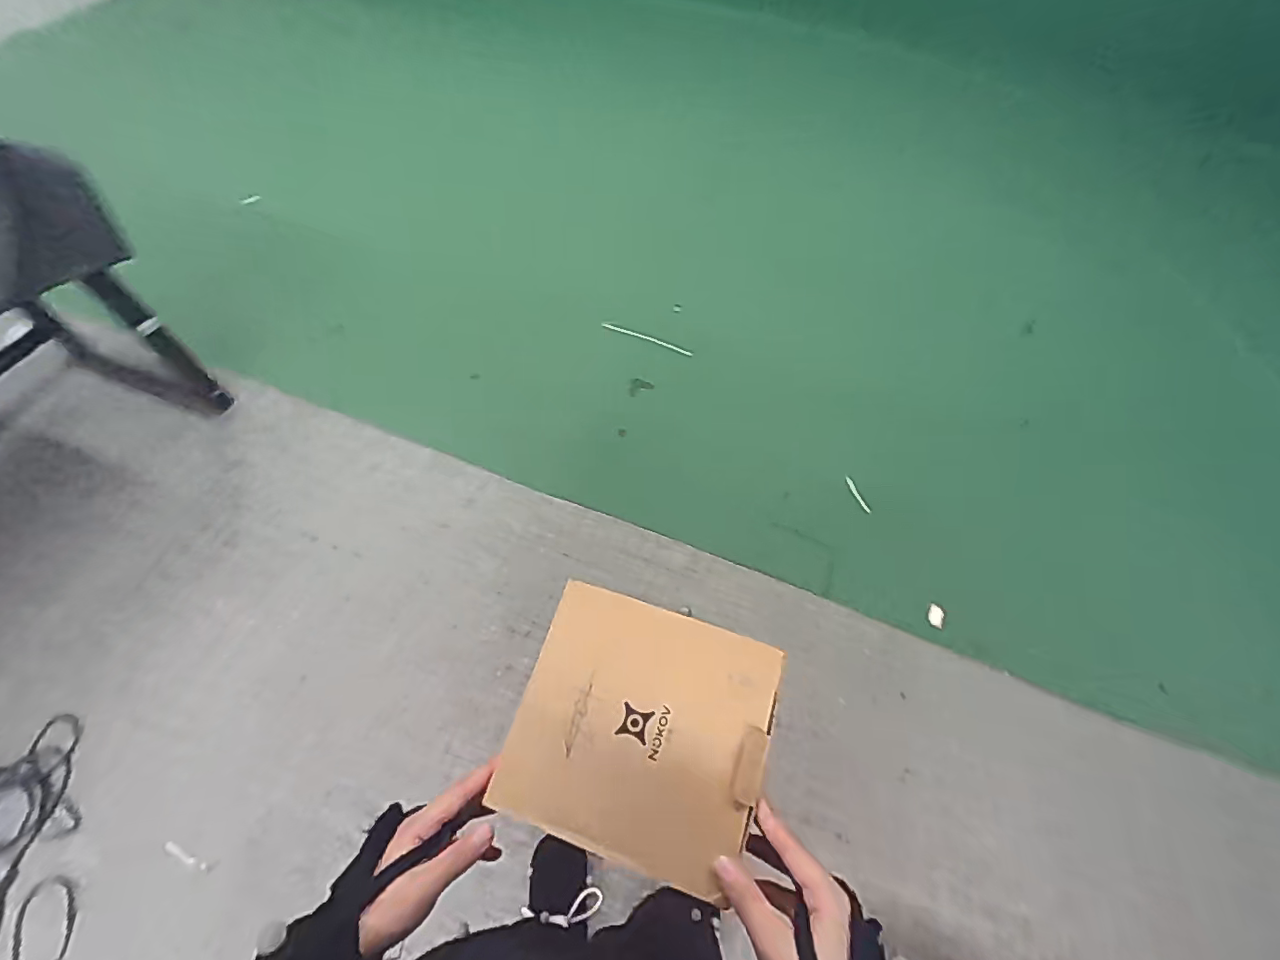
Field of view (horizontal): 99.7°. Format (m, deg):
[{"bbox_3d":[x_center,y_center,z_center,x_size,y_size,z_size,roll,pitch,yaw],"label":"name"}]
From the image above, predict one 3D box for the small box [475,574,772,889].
[{"bbox_3d":[-0.001,0.197,0.454,0.179,0.176,0.168,13,67,12],"label":"small box"}]
